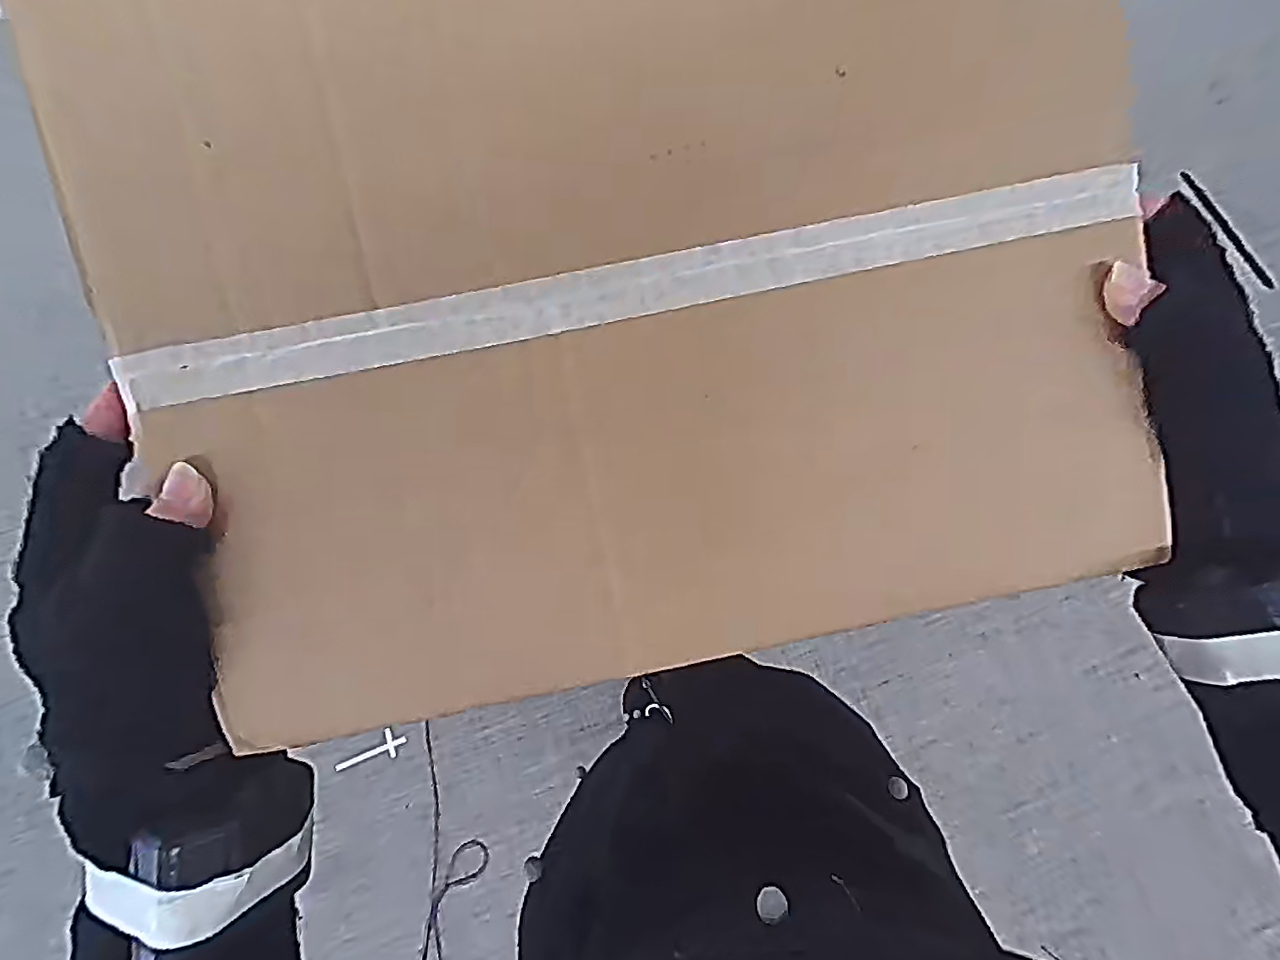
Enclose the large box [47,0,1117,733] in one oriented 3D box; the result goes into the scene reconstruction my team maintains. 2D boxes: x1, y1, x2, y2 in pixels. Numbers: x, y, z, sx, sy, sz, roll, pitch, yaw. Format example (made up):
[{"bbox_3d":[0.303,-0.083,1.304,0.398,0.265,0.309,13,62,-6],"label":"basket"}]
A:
[{"bbox_3d":[-0.007,-0.094,0.373,0.408,0.320,0.320,-11,96,-2],"label":"large box"}]
